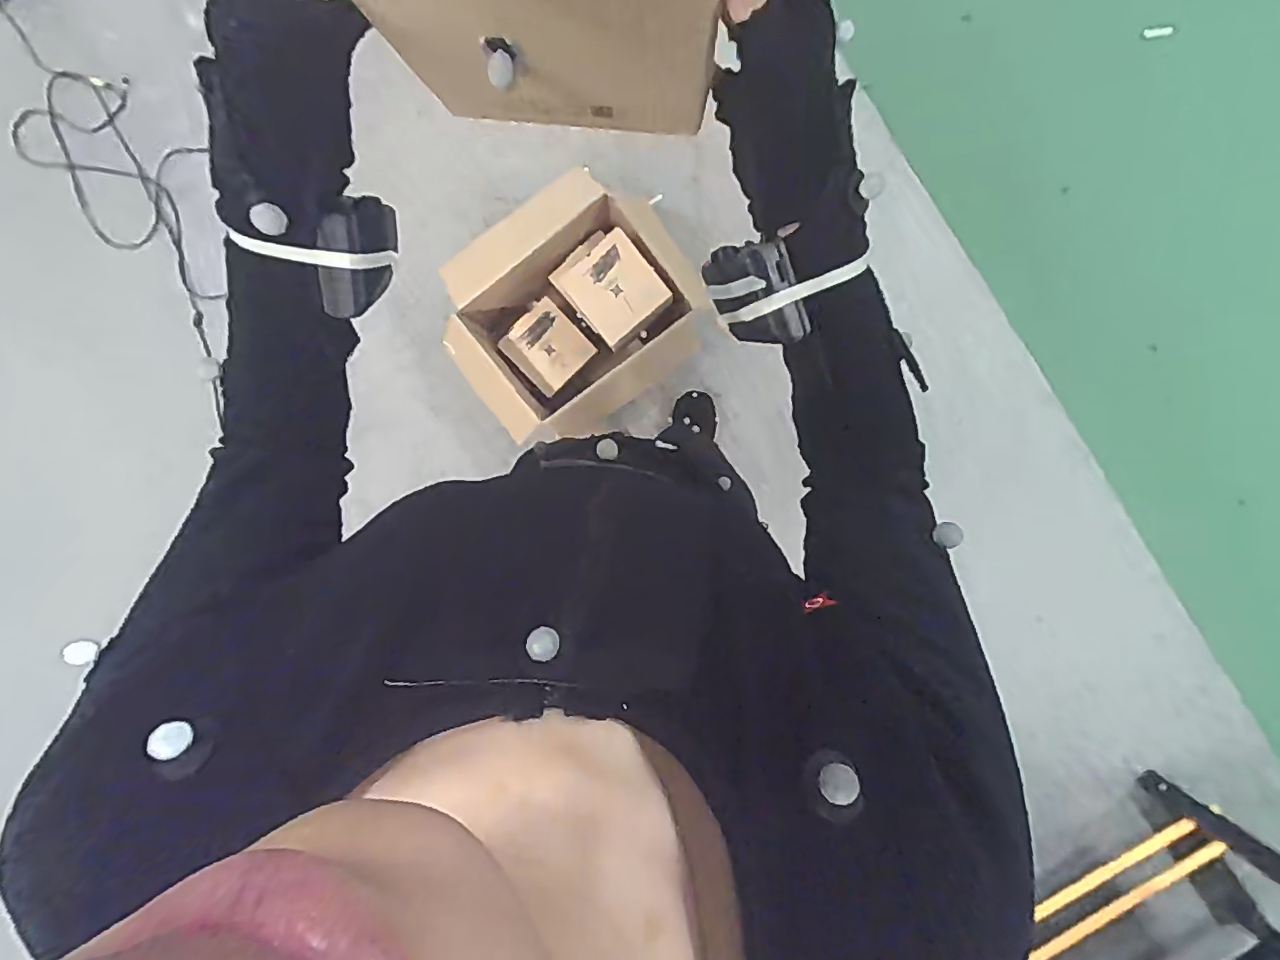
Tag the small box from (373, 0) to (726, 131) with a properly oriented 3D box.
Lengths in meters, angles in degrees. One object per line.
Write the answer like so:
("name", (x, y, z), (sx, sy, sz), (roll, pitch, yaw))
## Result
("small box", (-0.034, -0.296, 0.257), (0.168, 0.176, 0.179), (6, 103, 1))
